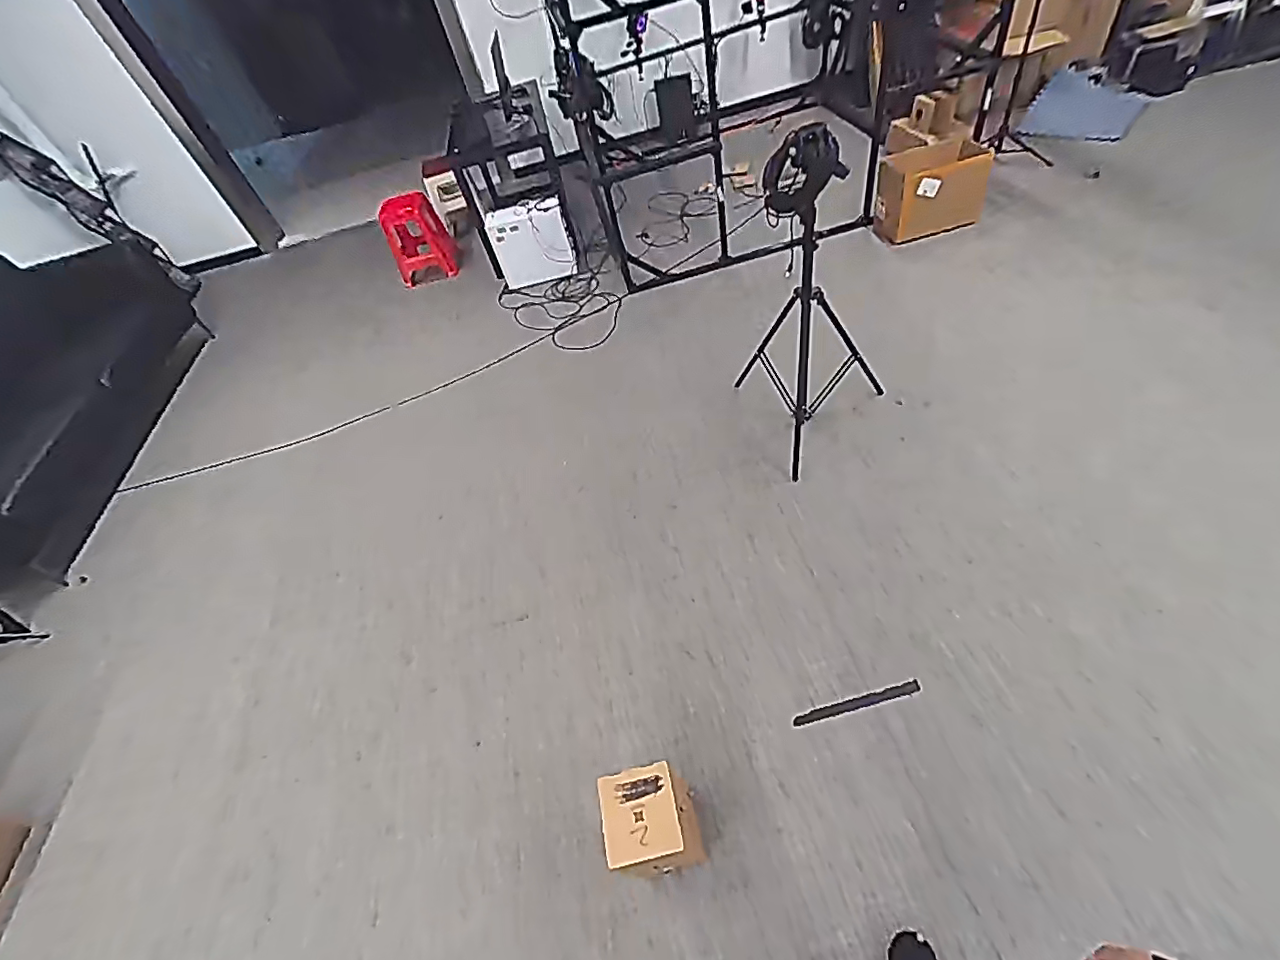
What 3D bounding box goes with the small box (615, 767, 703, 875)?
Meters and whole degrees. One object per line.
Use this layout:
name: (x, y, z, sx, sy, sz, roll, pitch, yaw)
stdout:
small box: (0.048, 0.851, 1.345, 0.168, 0.176, 0.179, -18, 48, 0)
